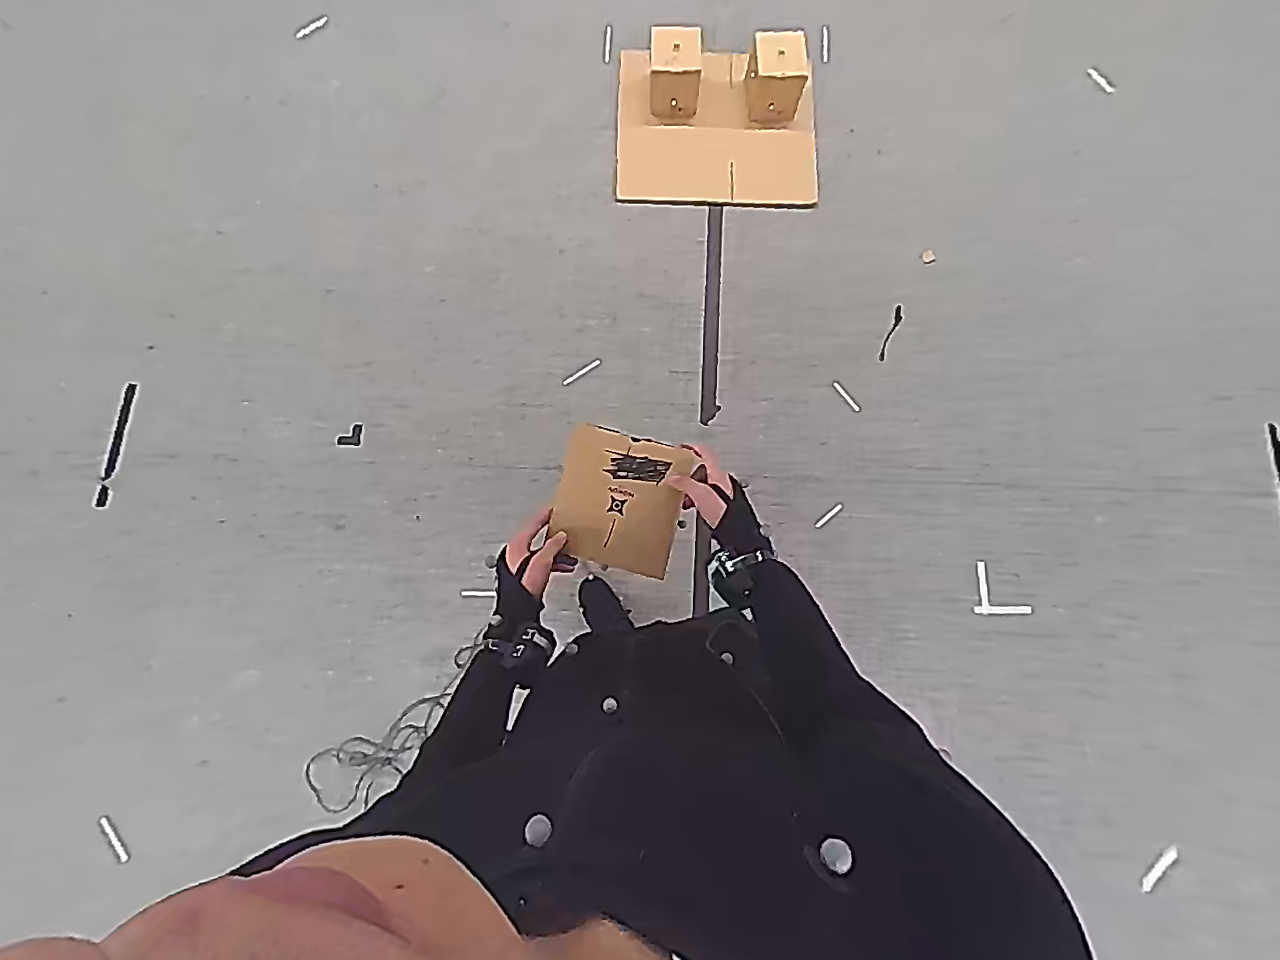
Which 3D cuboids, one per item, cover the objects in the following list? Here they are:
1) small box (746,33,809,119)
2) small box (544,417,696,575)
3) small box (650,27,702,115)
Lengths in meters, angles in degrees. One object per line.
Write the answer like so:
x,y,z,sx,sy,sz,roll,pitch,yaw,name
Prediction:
0.465,-1.380,1.852,0.168,0.176,0.179,-2,80,-1,small box
-0.025,0.027,0.786,0.168,0.176,0.179,15,85,3,small box
0.121,-1.392,1.844,0.168,0.176,0.179,1,80,0,small box
